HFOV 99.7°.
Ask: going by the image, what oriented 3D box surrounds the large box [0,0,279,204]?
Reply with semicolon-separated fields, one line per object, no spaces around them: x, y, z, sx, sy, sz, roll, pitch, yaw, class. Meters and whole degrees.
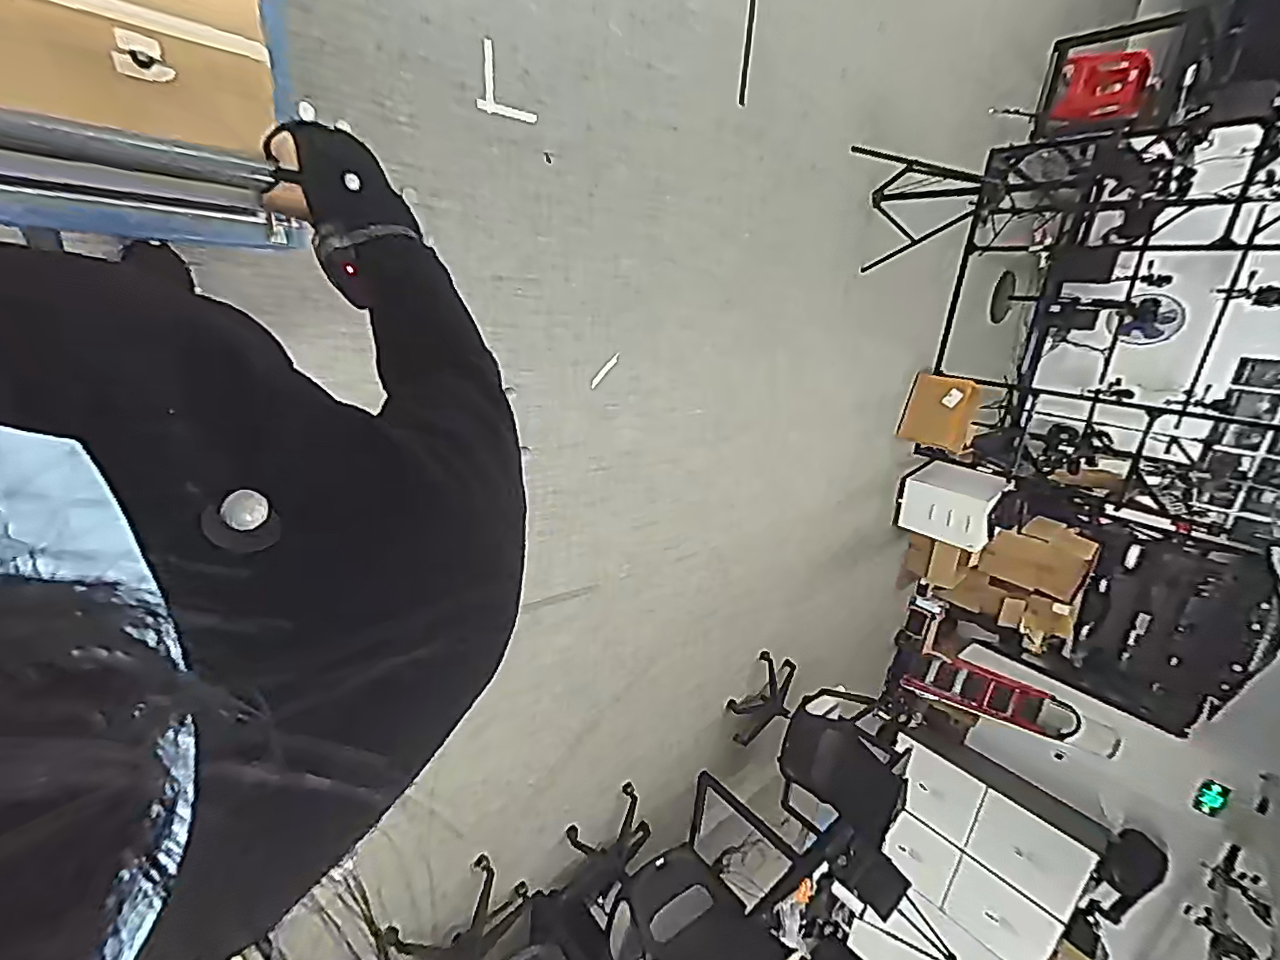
-0.765;-0.577;0.714;0.408;0.320;0.320;-12;115;-42;large box
